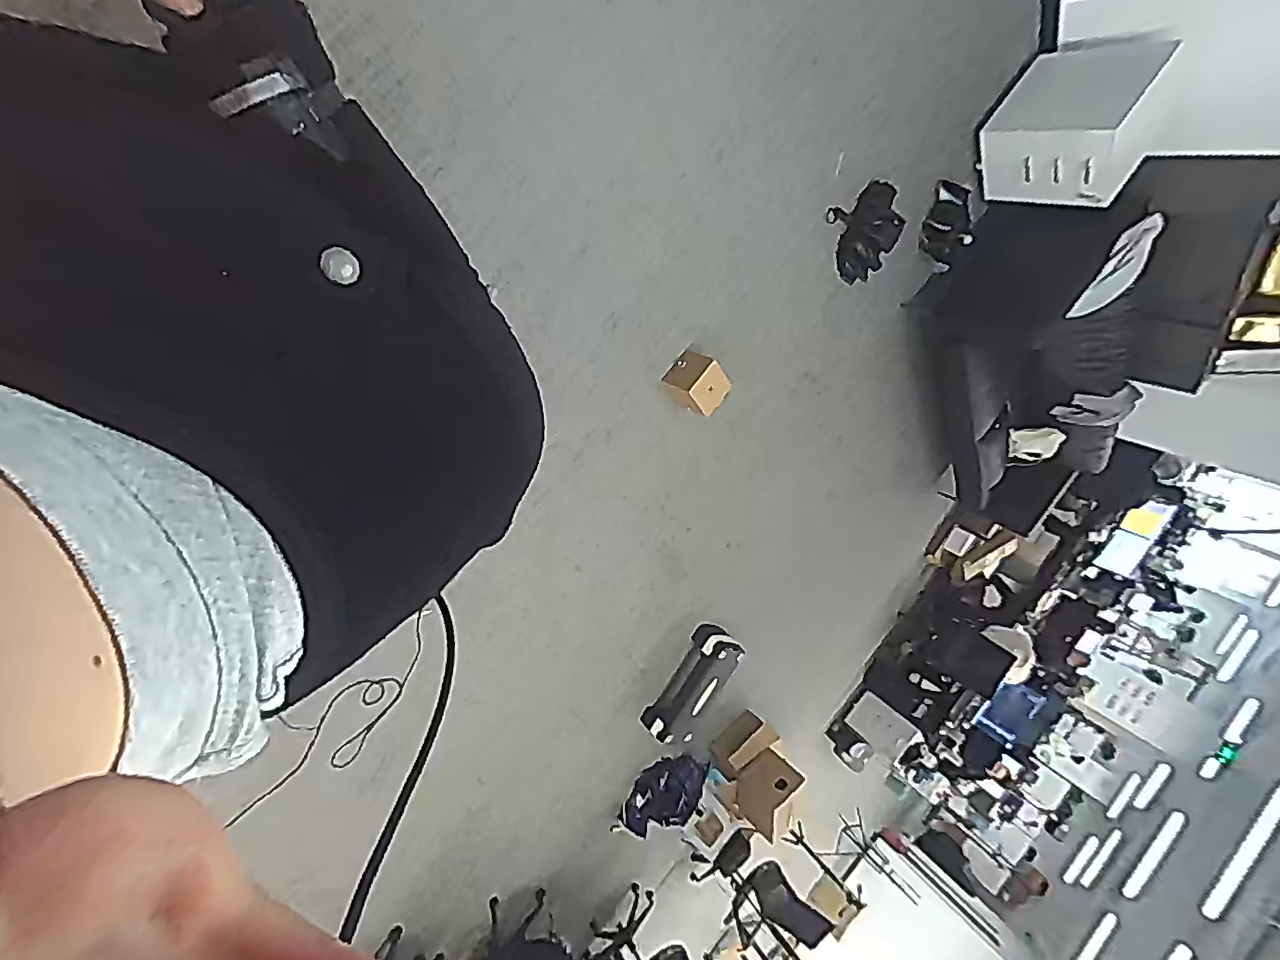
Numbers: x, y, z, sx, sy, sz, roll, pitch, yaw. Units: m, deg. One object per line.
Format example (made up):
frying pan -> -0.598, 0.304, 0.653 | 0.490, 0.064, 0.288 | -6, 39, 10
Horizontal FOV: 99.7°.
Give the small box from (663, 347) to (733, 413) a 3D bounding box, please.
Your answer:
small box -> 0.227, -0.397, 2.115 | 0.168, 0.176, 0.179 | -53, 135, -5
